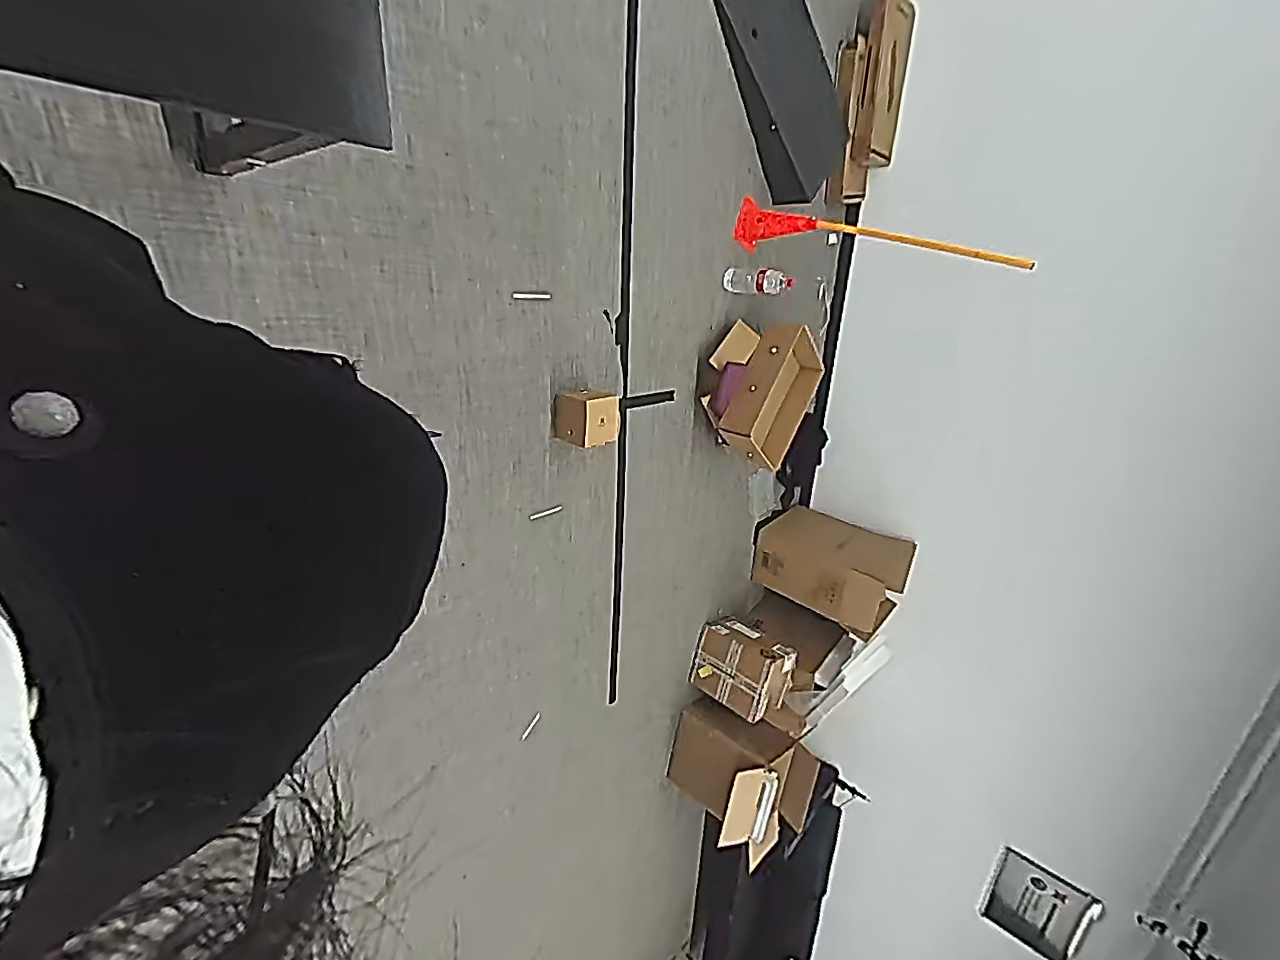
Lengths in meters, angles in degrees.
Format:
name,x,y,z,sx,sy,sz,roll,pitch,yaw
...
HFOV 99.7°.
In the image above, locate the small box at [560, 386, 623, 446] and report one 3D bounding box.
name,x,y,z,sx,sy,sz,roll,pitch,yaw
small box,-0.182,-0.239,1.995,0.168,0.176,0.179,-20,120,-45
